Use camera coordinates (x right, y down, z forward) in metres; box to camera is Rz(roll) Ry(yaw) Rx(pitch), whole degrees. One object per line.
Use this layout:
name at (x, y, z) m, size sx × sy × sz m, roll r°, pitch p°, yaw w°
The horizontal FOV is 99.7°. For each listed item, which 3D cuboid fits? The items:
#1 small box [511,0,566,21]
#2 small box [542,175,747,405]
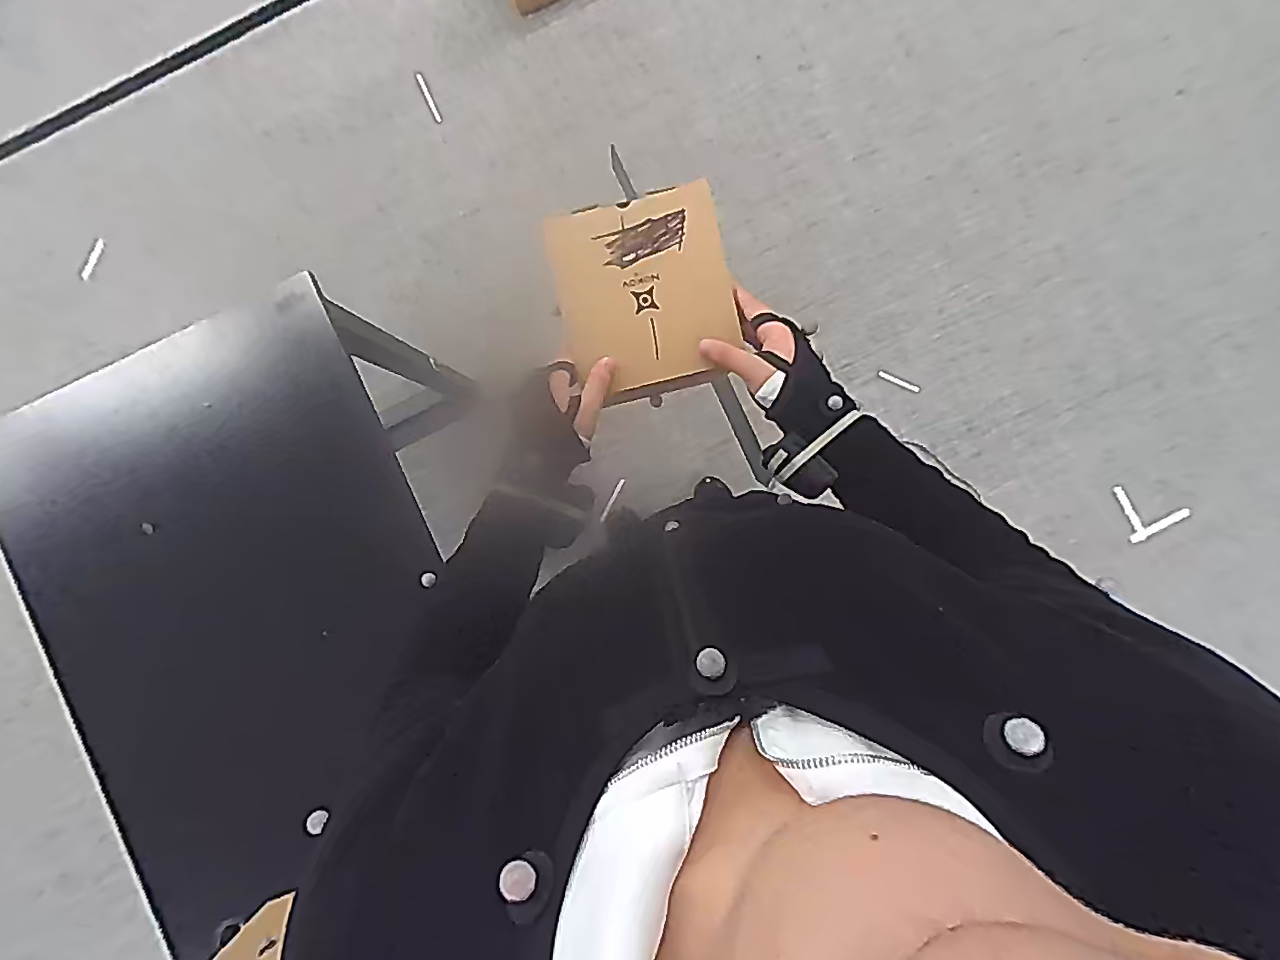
small box at (-0.298, -1.426, 1.475) m, size 0.179 × 0.176 × 0.168 m, roll -26°, pitch 87°, yaw 2°
small box at (0.004, -0.189, 0.590) m, size 0.168 × 0.176 × 0.179 m, roll -14°, pitch 94°, yaw 1°
